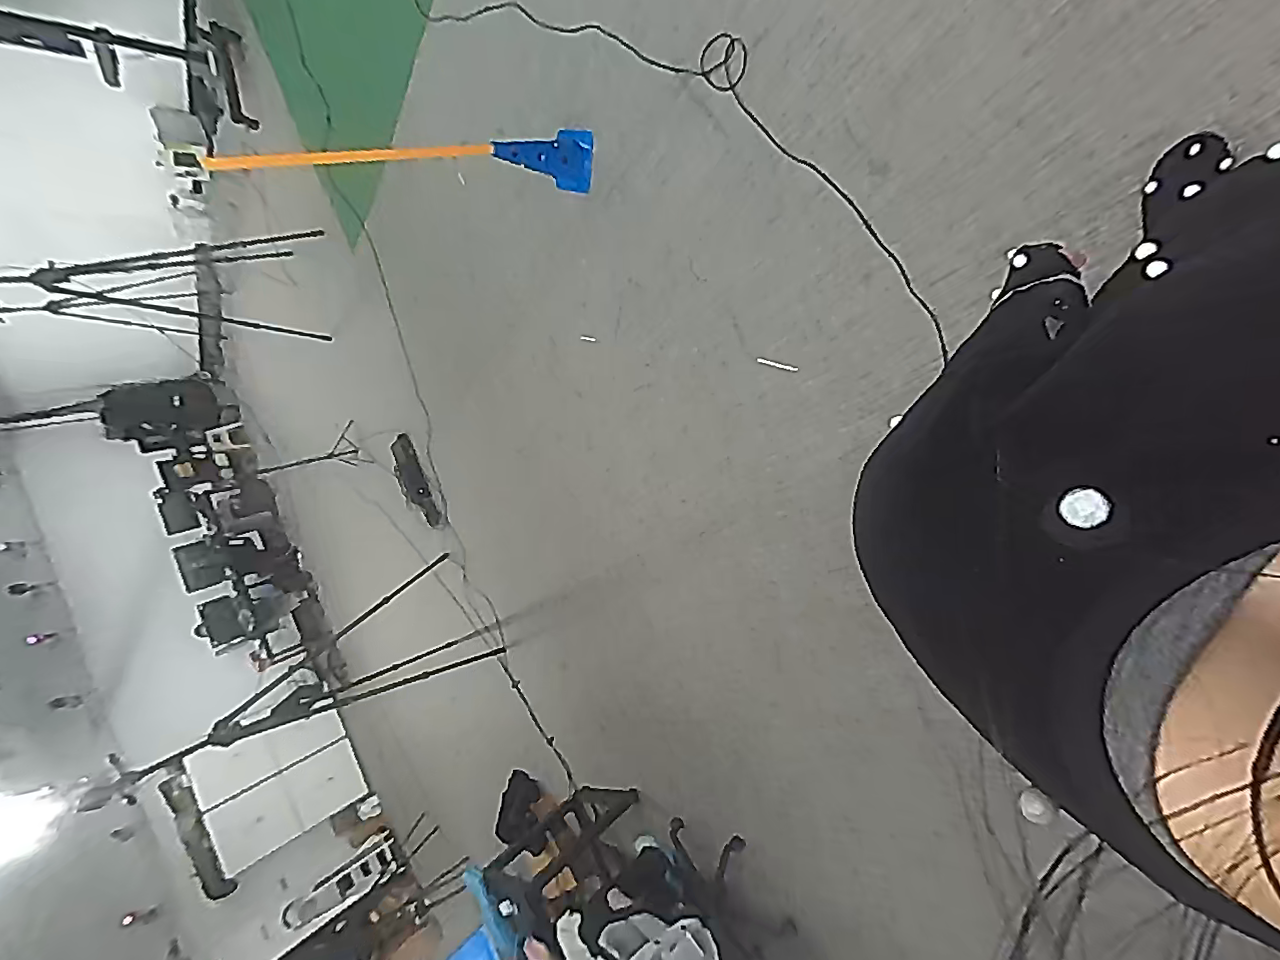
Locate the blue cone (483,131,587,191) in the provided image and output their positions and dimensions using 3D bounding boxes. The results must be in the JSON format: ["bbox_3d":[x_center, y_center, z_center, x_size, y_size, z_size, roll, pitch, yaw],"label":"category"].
[{"bbox_3d":[-0.375,-1.139,1.908,0.192,0.380,0.193,28,126,35],"label":"blue cone"}]
